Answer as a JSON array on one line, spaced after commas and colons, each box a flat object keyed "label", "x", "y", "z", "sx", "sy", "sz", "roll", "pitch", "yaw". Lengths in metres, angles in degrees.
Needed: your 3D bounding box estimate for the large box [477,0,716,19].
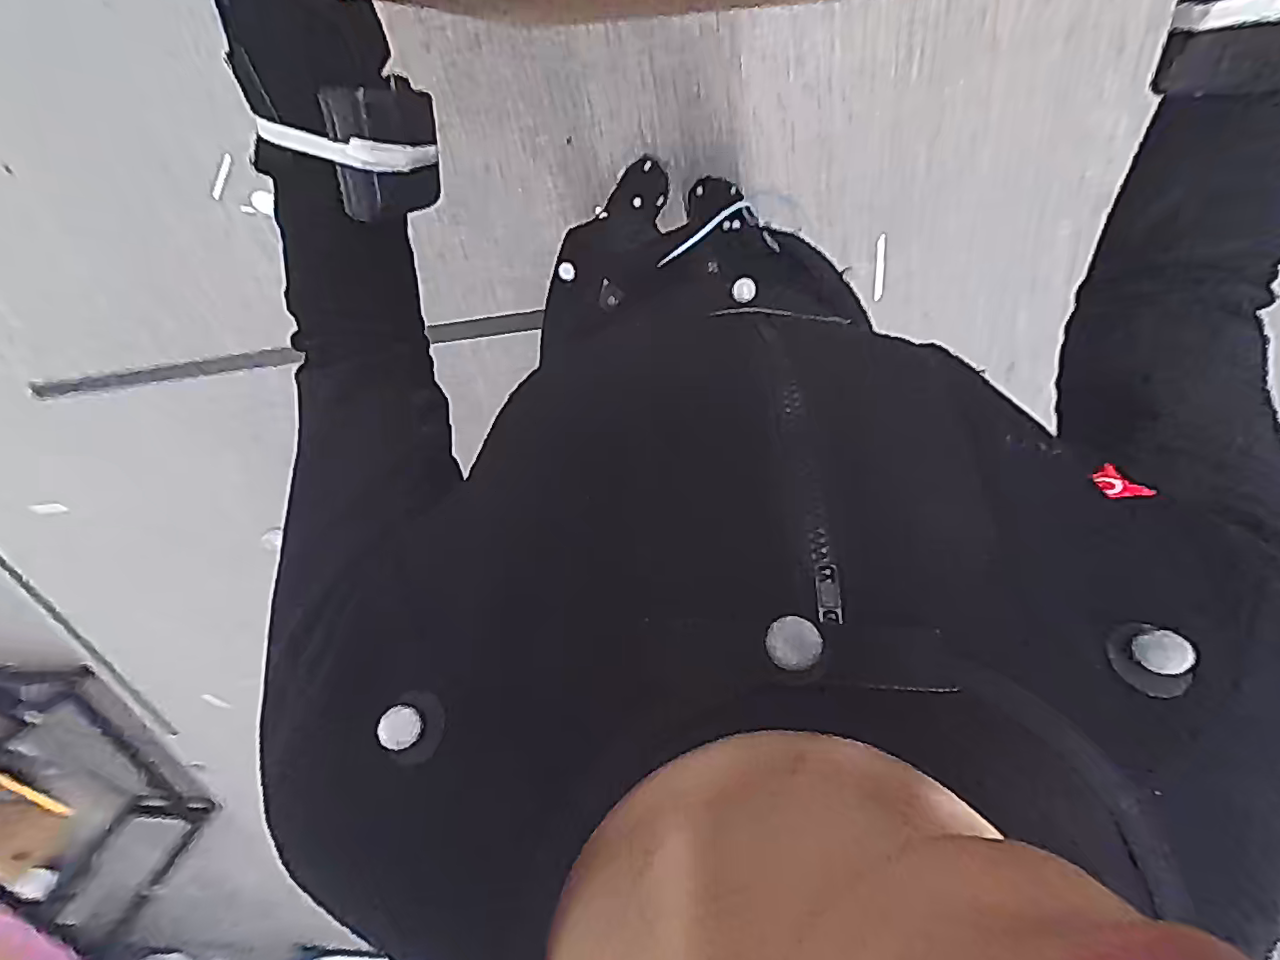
[{"label": "large box", "x": 0.070, "y": -0.452, "z": 0.263, "sx": 0.408, "sy": 0.320, "sz": 0.320, "roll": 0, "pitch": 129, "yaw": 5}]
